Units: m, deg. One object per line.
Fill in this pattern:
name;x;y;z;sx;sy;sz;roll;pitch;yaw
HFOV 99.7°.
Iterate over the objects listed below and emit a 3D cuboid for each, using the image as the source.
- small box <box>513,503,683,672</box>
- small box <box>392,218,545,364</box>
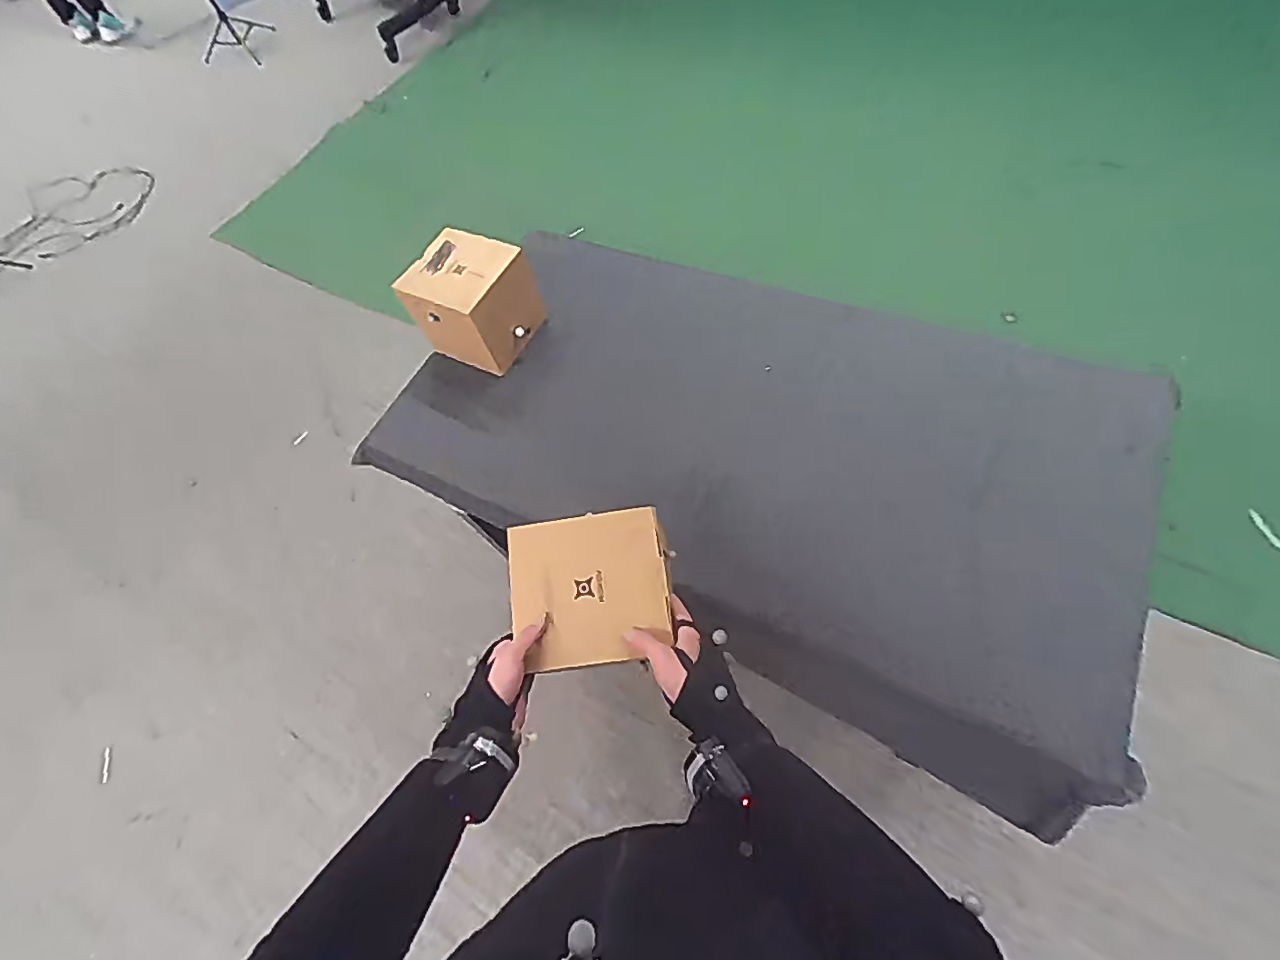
small box;-0.044;0.138;0.664;0.179;0.176;0.168;-9;70;3
small box;-0.303;-0.341;0.994;0.179;0.176;0.168;24;69;17
